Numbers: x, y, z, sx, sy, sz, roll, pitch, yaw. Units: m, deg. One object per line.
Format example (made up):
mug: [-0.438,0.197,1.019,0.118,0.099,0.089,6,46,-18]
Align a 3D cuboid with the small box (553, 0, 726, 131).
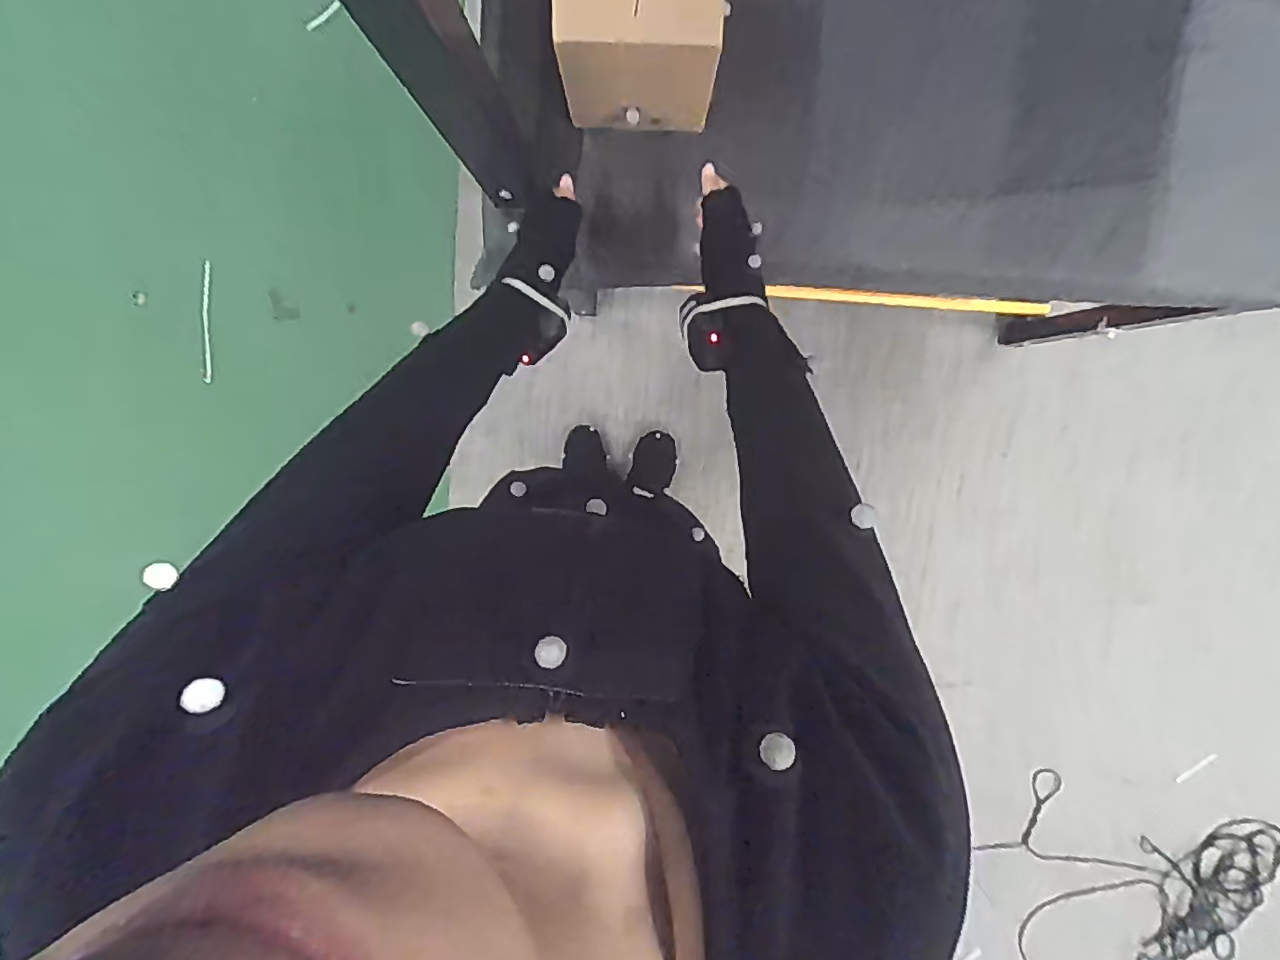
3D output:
small box: [0.001,-0.514,0.583,0.168,0.176,0.179,2,98,0]
